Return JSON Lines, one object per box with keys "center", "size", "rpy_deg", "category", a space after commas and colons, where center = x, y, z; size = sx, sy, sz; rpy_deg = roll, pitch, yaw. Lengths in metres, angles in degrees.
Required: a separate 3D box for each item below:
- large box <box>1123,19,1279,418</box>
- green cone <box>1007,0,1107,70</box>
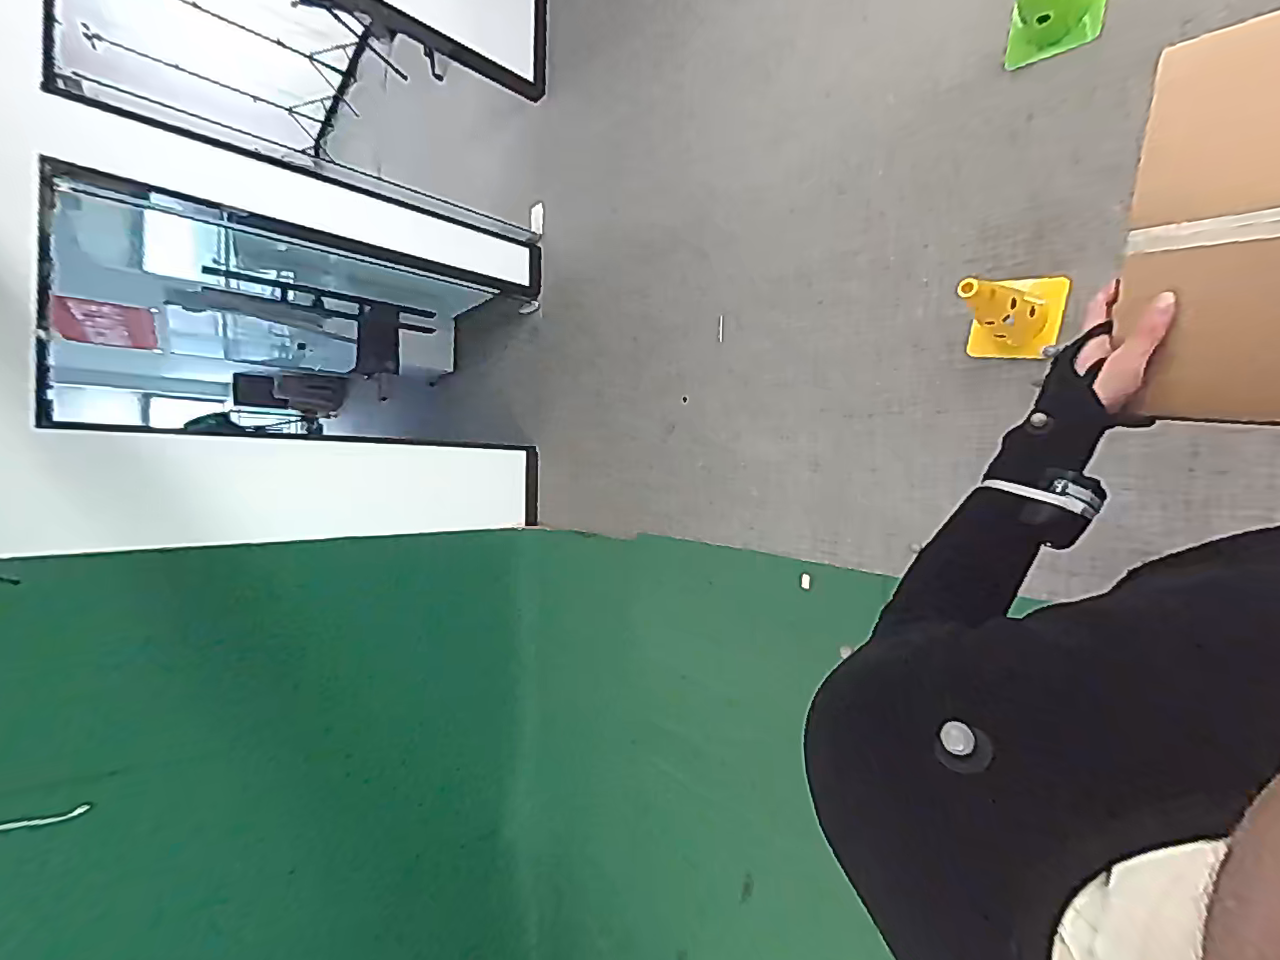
{"center": [0.700, -0.206, 0.439], "size": [0.408, 0.320, 0.320], "rpy_deg": [12, 105, 49], "category": "large box"}
{"center": [0.913, -1.164, 1.242], "size": [0.200, 0.368, 0.202], "rpy_deg": [11, 100, 49], "category": "green cone"}
